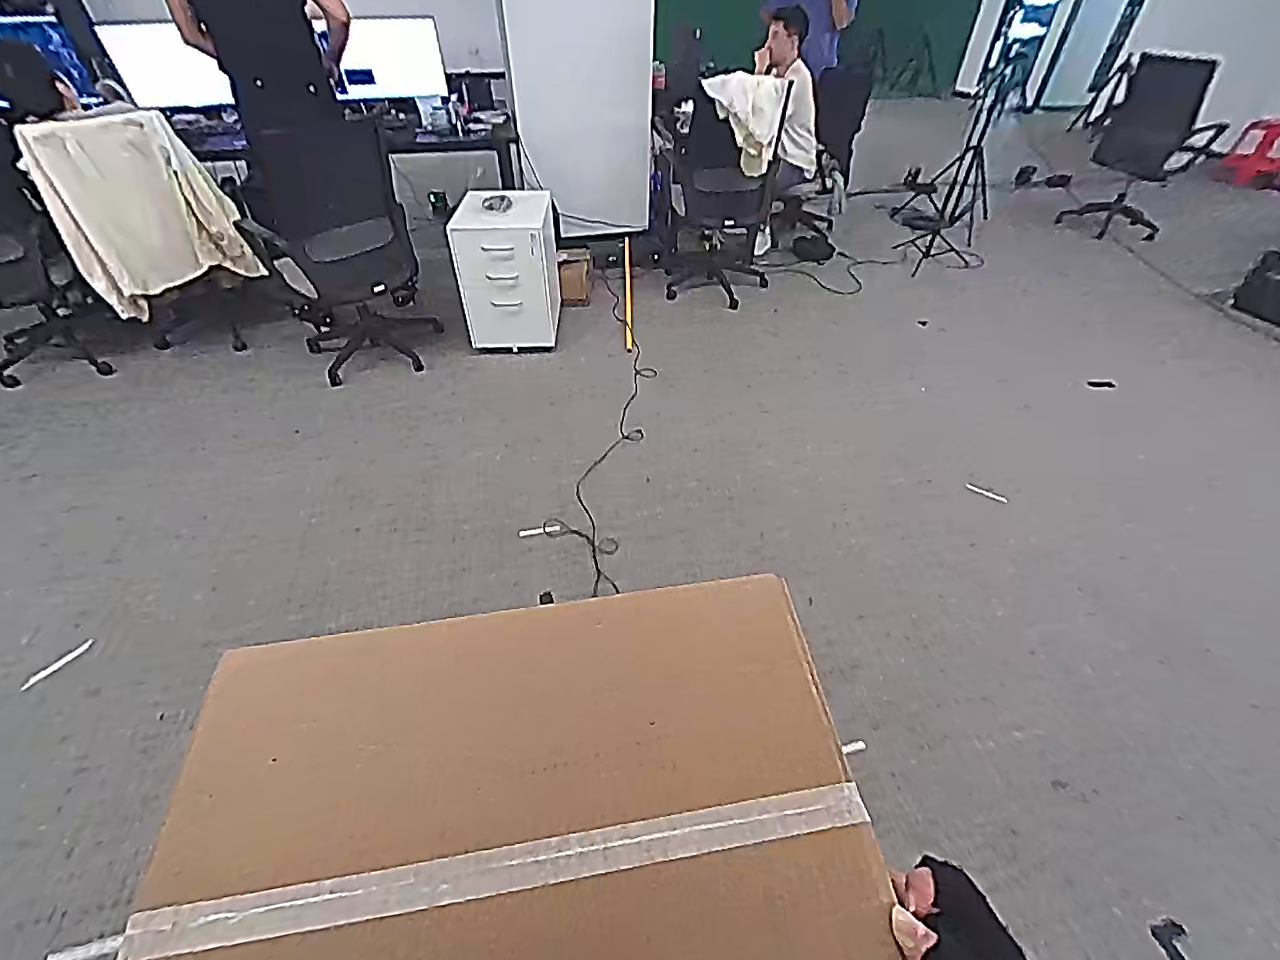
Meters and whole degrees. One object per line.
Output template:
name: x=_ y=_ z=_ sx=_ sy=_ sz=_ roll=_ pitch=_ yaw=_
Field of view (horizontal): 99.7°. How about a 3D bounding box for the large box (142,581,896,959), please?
large box: x=-0.069 y=0.314 z=0.431 sx=0.408 sy=0.320 sz=0.320 roll=-7 pitch=51 yaw=-5
